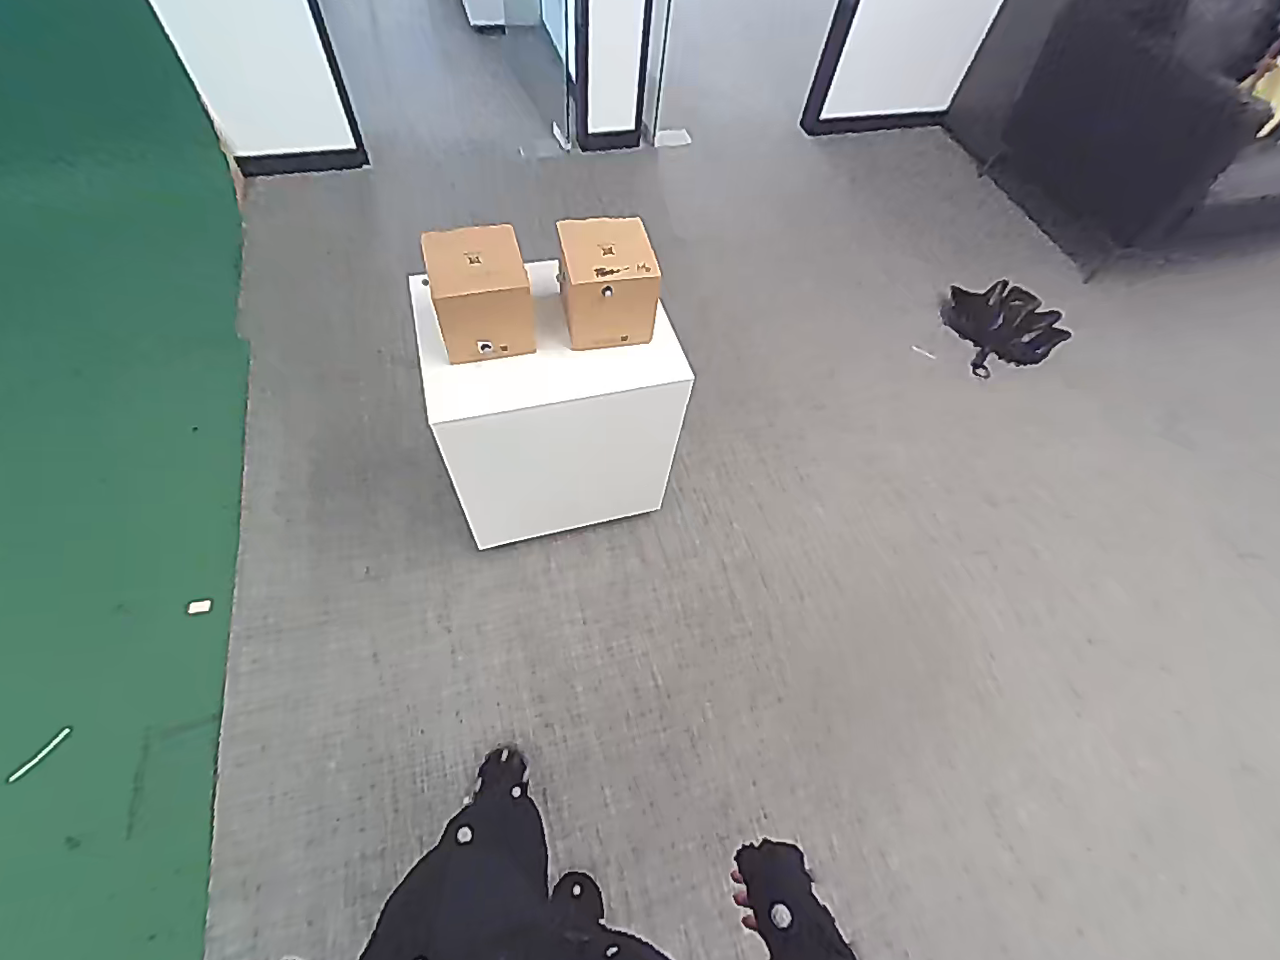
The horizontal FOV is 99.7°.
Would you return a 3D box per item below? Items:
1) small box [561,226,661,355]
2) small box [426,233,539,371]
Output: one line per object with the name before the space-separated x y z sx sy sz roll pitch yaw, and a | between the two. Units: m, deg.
small box | -0.065 -0.373 1.070 0.168 0.176 0.179 -9 60 -11
small box | -0.294 -0.336 1.027 0.168 0.176 0.179 -14 63 -13
